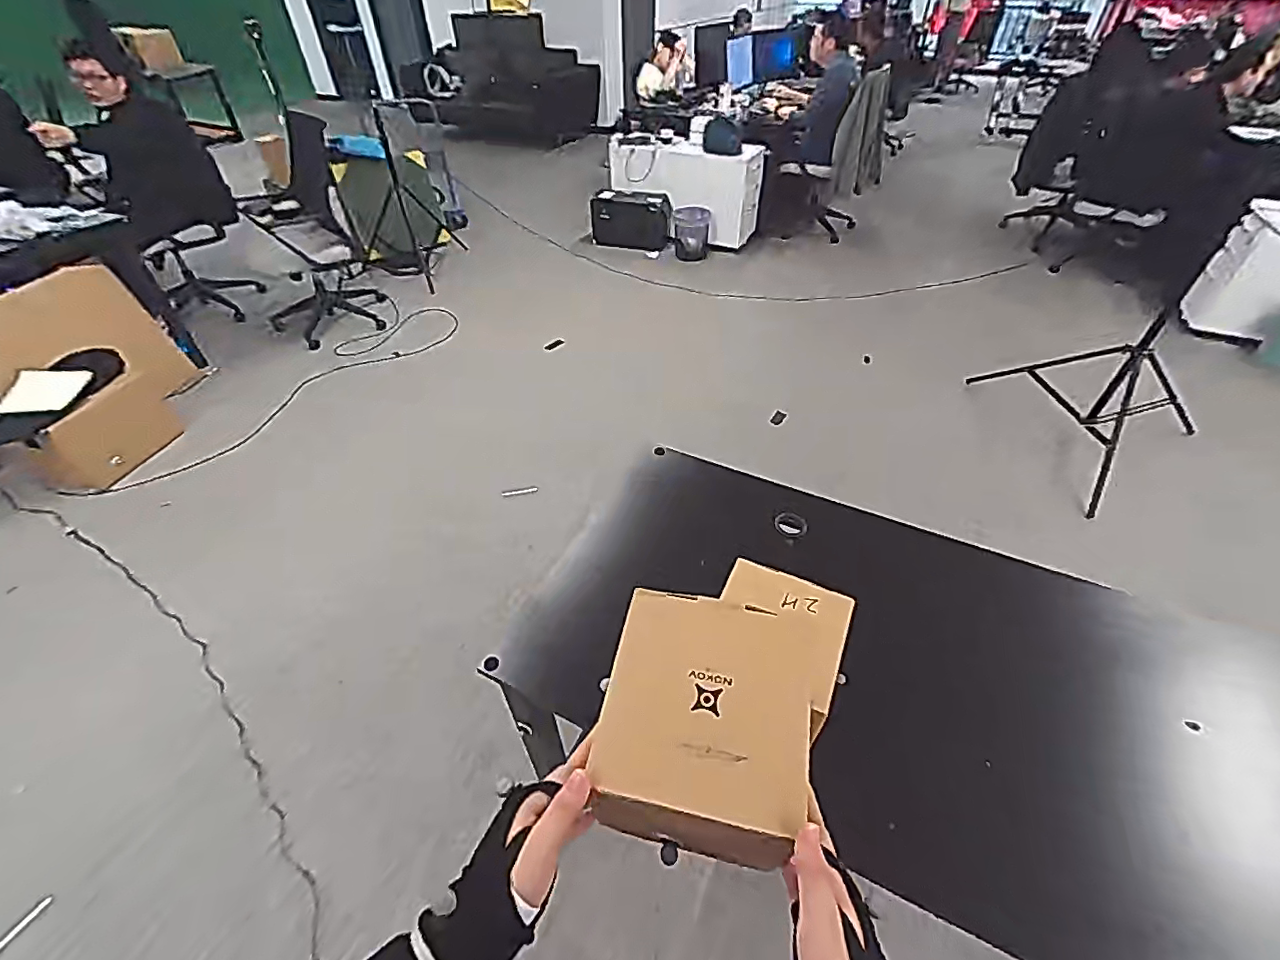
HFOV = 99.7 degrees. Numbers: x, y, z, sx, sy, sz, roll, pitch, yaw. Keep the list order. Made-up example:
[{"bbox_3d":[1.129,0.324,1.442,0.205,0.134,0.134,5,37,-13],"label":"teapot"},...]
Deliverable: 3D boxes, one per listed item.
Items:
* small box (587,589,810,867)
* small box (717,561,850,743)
[{"bbox_3d":[0.058,0.233,0.510,0.168,0.176,0.179,8,49,11],"label":"small box"},{"bbox_3d":[0.176,0.252,0.757,0.168,0.176,0.179,19,46,19],"label":"small box"}]
